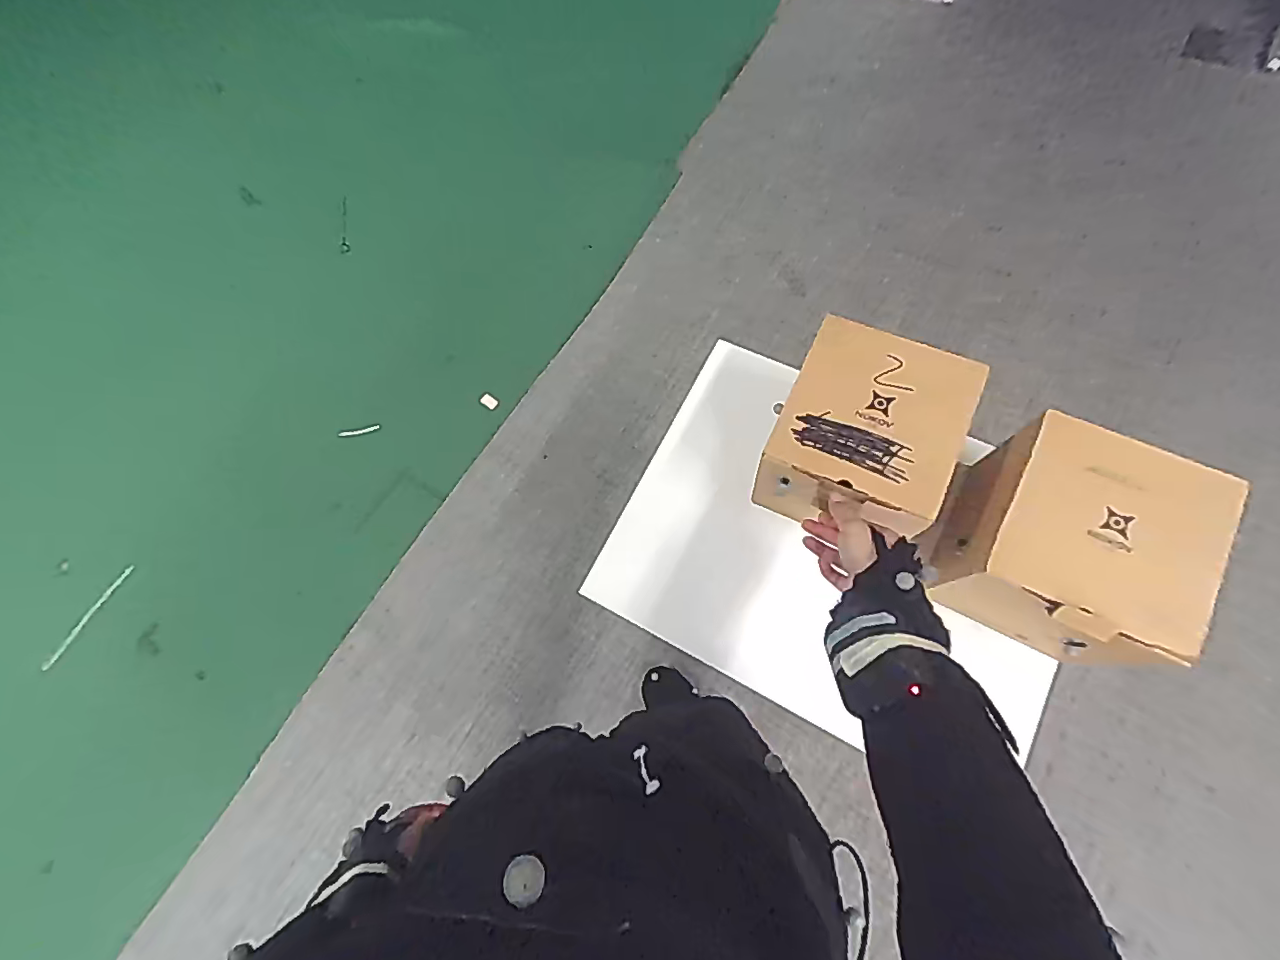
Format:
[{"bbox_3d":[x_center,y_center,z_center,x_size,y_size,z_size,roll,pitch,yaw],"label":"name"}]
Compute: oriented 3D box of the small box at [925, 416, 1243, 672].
[{"bbox_3d":[0.415,0.071,0.539,0.168,0.176,0.179,25,76,14],"label":"small box"}]
